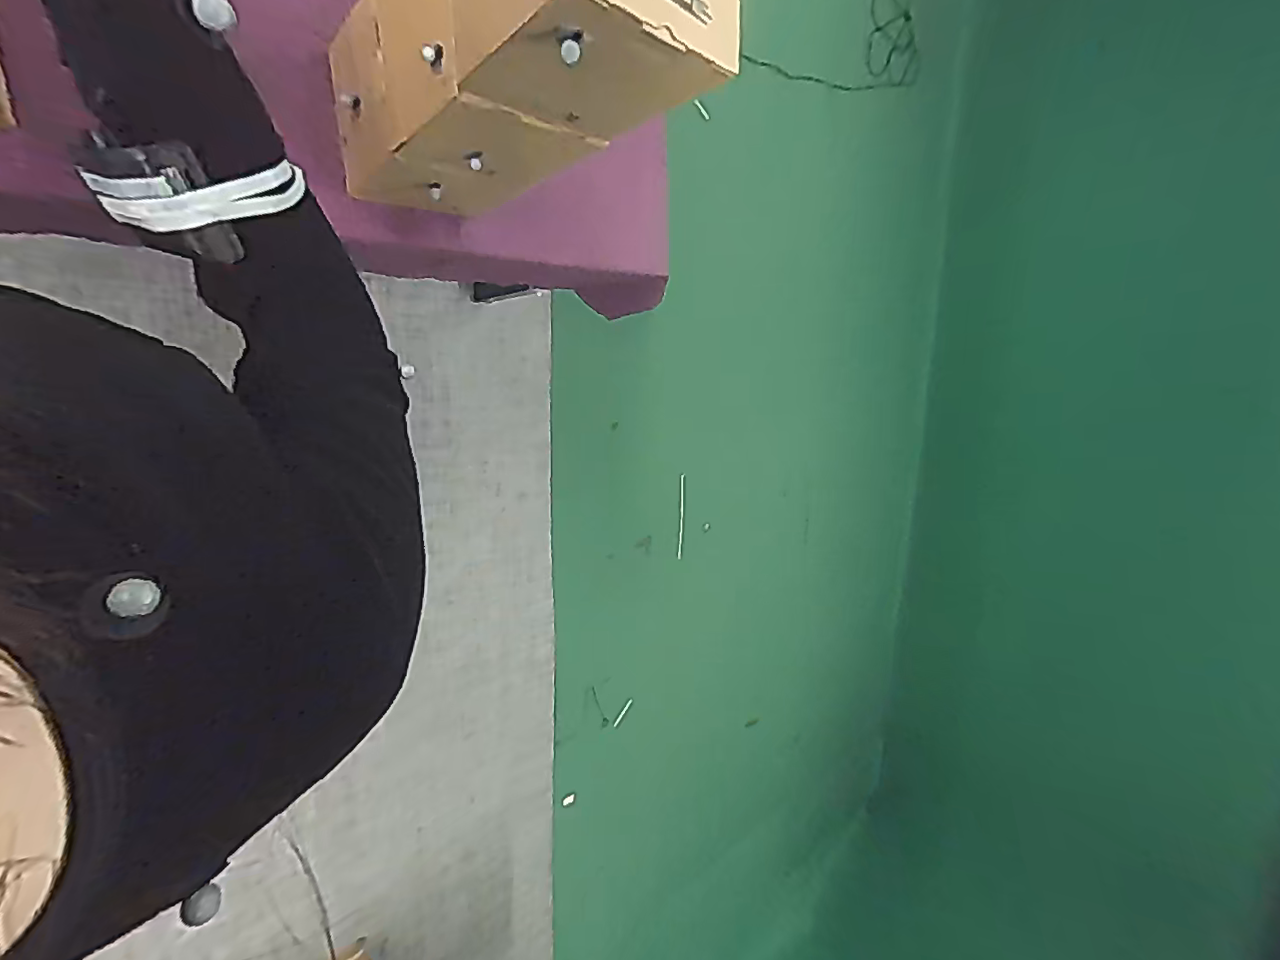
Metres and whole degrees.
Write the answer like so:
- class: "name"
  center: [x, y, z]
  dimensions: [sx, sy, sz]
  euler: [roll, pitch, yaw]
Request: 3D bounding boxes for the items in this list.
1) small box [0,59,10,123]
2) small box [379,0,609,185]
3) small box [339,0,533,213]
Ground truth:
- class: "small box"
  center: [-0.586, -0.382, 0.372]
  dimensions: [0.168, 0.176, 0.179]
  euler: [-12, 106, -42]
- class: "small box"
  center: [-0.148, -0.427, 0.545]
  dimensions: [0.168, 0.176, 0.179]
  euler: [-11, 106, -41]
- class: "small box"
  center: [-0.255, -0.443, 0.667]
  dimensions: [0.179, 0.176, 0.168]
  euler: [-13, 107, -40]
